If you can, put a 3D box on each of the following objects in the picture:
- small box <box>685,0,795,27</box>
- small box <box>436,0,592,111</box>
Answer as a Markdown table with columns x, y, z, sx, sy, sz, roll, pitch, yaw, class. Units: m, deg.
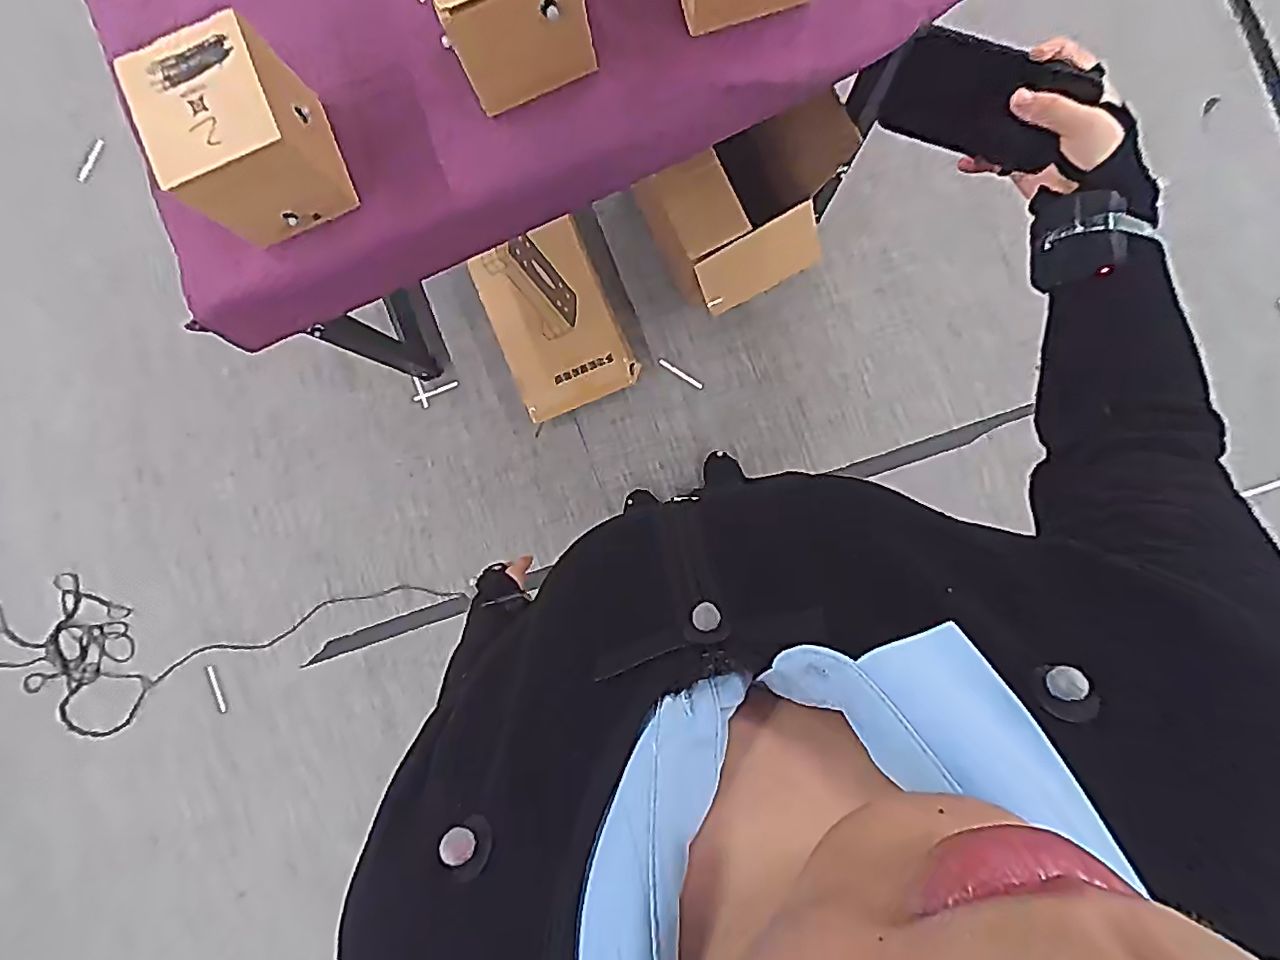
| x | y | z | sx | sy | sz | roll | pitch | yaw | class |
| --- | --- | --- | --- | --- | --- | --- | --- | --- | --- |
| 0.132 | -0.733 | 0.686 | 0.179 | 0.176 | 0.168 | -15 | 89 | 3 | small box |
| -0.171 | -0.636 | 0.702 | 0.179 | 0.176 | 0.168 | -22 | 86 | 3 | small box |
